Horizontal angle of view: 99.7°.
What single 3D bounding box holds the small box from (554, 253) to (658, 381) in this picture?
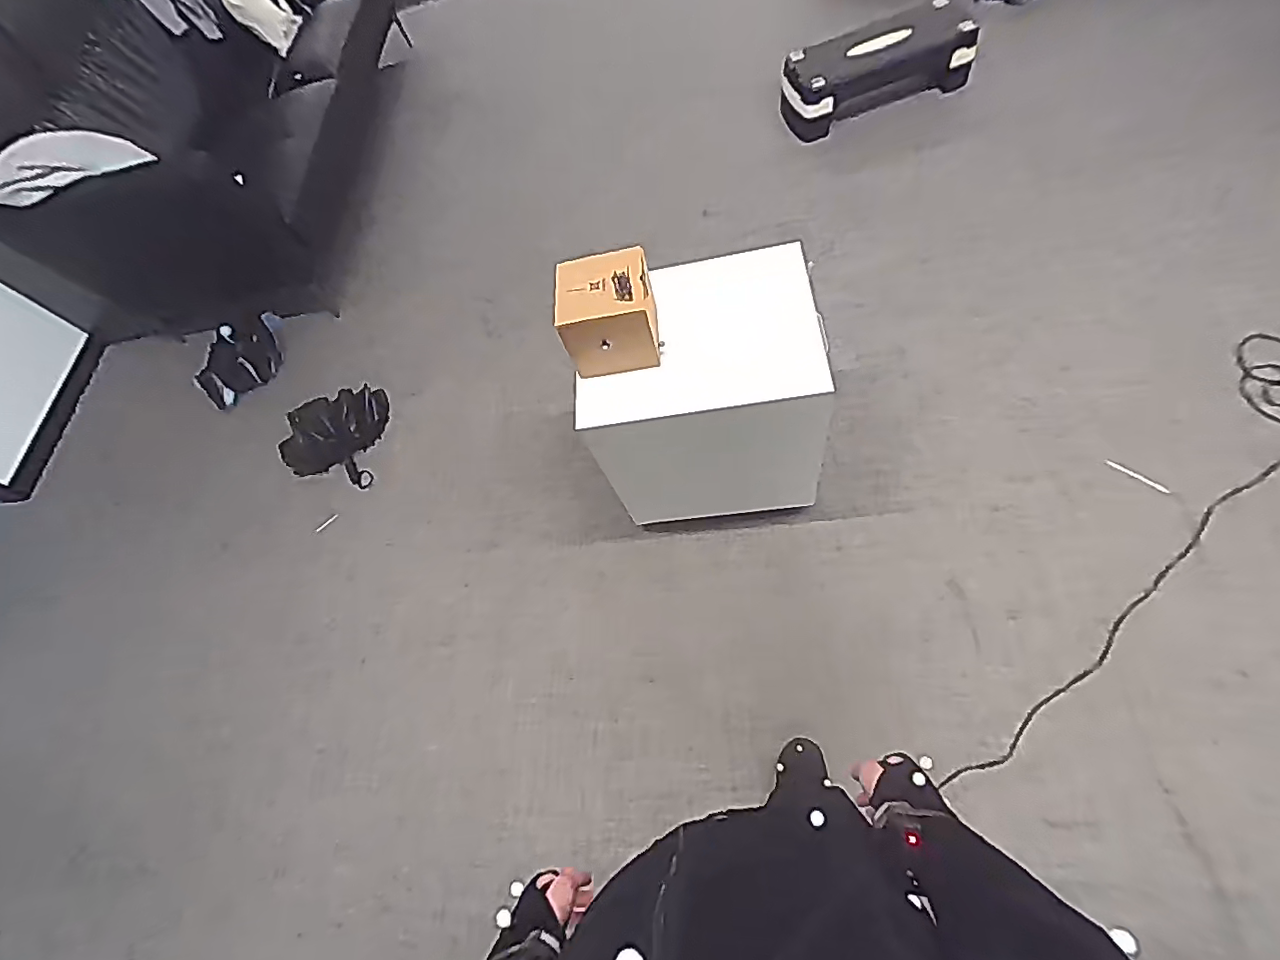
[{"bbox_3d":[-0.061,-0.322,1.096,0.179,0.176,0.168,-8,63,10],"label":"small box"}]
